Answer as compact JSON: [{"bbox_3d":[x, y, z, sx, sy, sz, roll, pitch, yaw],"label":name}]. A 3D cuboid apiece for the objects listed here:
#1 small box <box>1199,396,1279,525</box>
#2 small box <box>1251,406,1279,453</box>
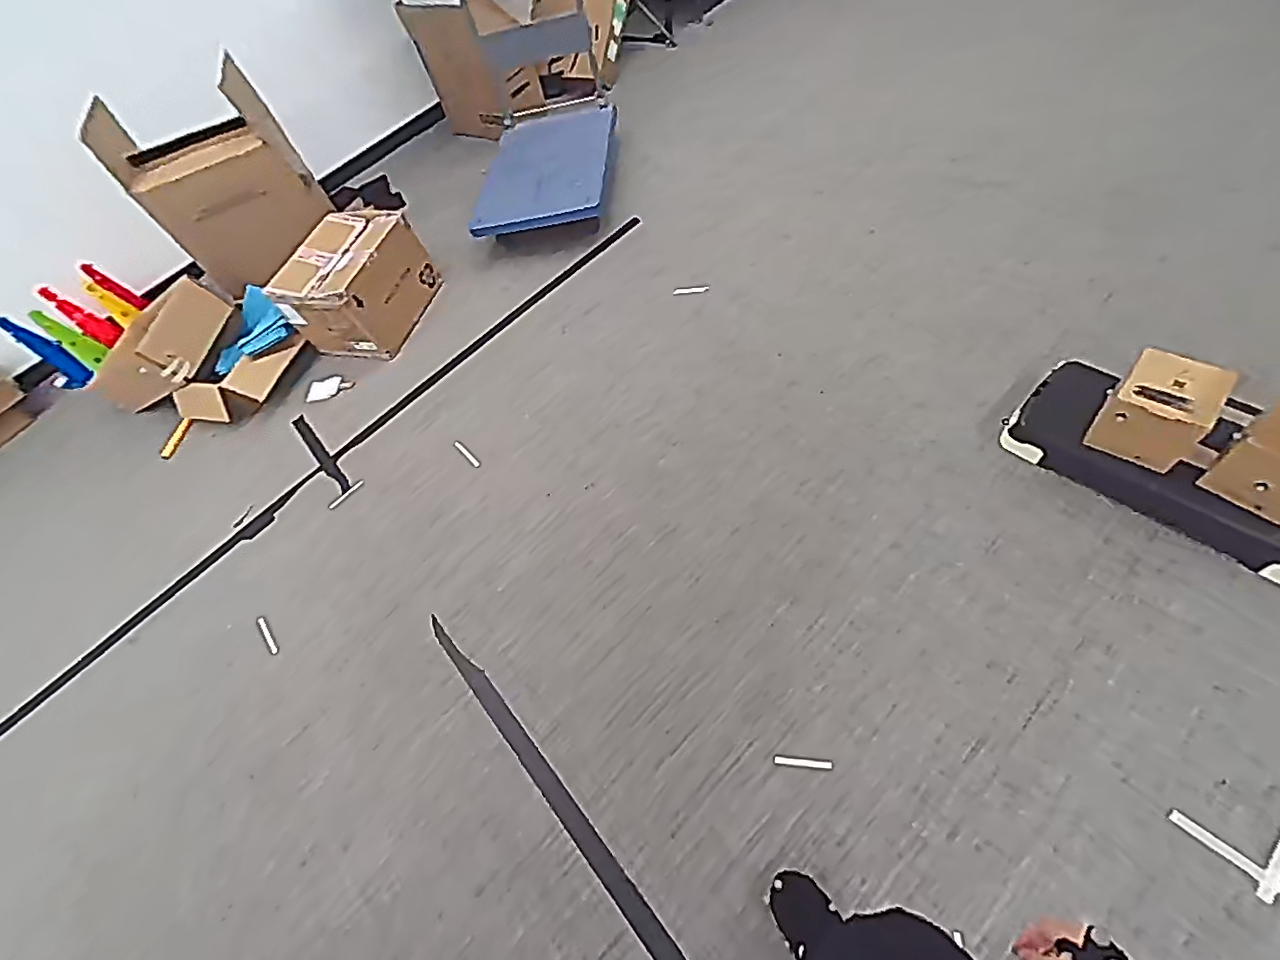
[{"bbox_3d":[1.310,-0.040,1.097,0.179,0.176,0.168,-40,58,-11],"label":"small box"},{"bbox_3d":[1.282,-0.118,0.957,0.168,0.176,0.179,-38,56,-9],"label":"small box"}]
